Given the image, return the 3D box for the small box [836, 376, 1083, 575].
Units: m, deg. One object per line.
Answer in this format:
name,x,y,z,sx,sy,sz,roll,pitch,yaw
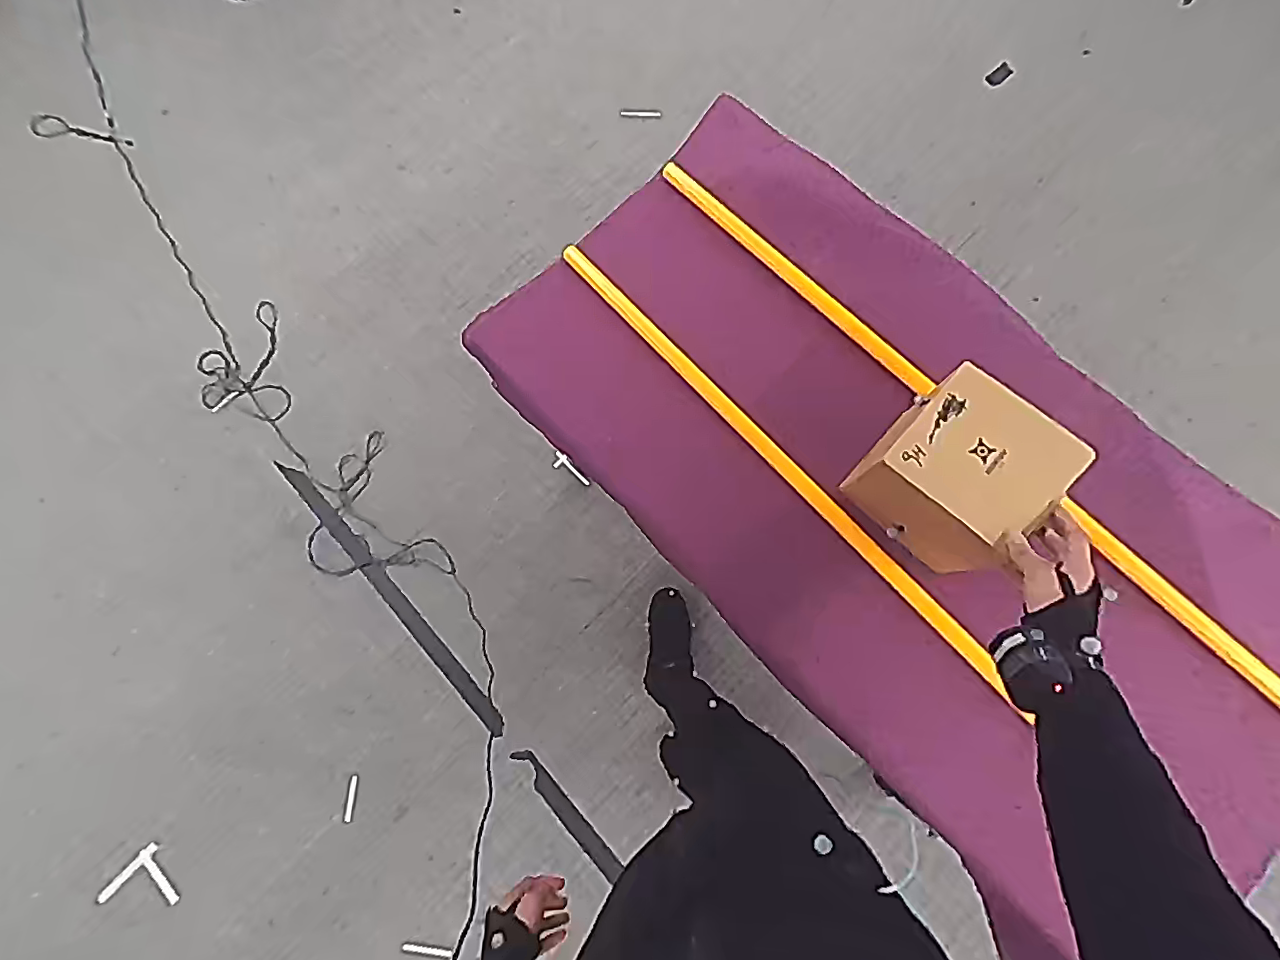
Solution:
small box,0.389,0.005,0.693,0.179,0.176,0.168,42,83,11
